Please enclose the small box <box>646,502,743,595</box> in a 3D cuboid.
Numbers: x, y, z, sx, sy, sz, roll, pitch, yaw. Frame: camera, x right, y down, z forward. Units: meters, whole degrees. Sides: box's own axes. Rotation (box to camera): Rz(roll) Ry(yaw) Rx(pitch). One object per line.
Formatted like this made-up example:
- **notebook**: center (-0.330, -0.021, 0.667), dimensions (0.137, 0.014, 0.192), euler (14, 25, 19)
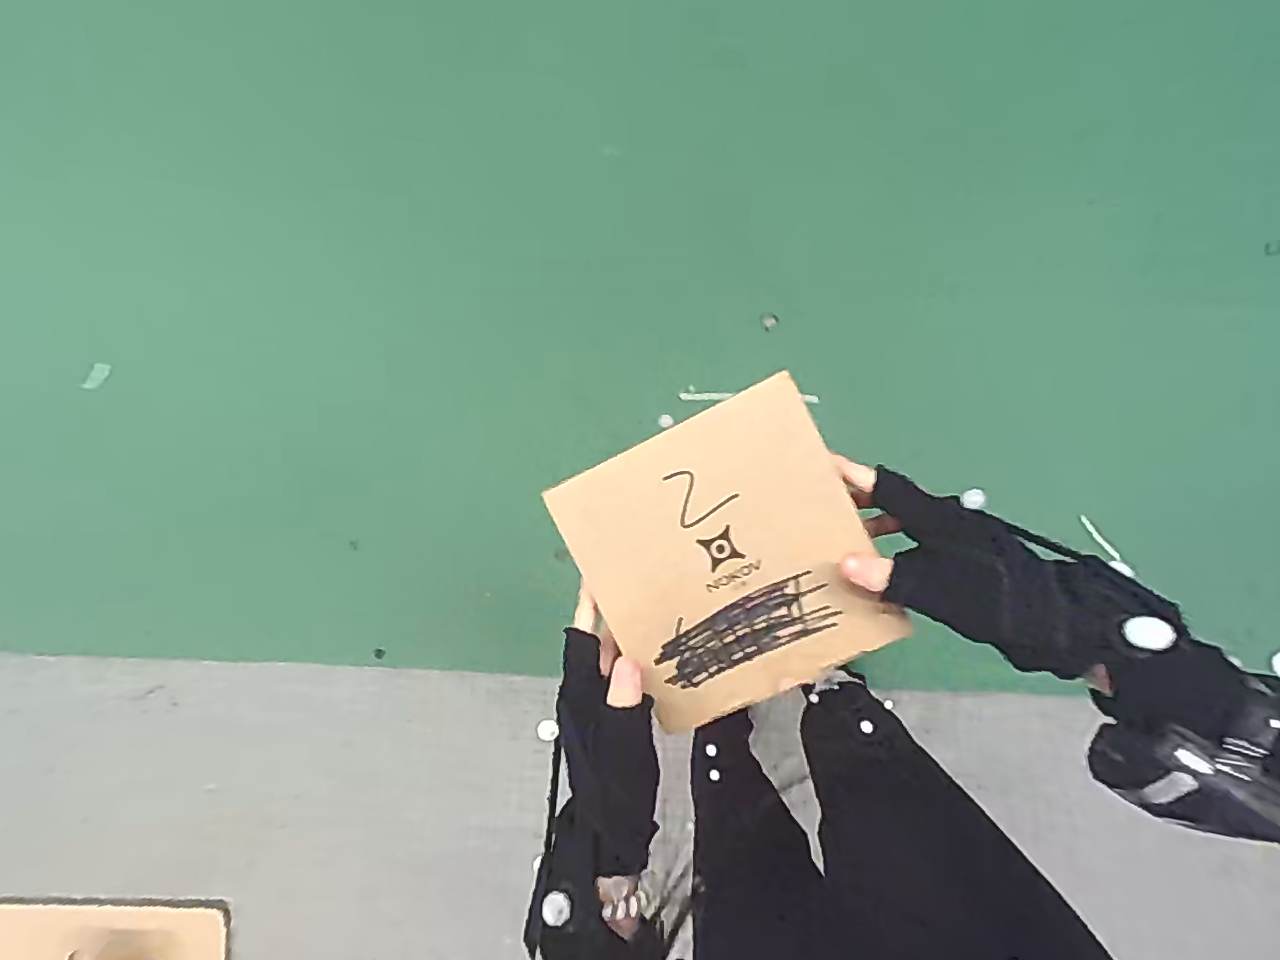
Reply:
- **small box**: center (0.115, 0.144, 1.156), dimensions (0.179, 0.176, 0.168), euler (8, 86, 5)
